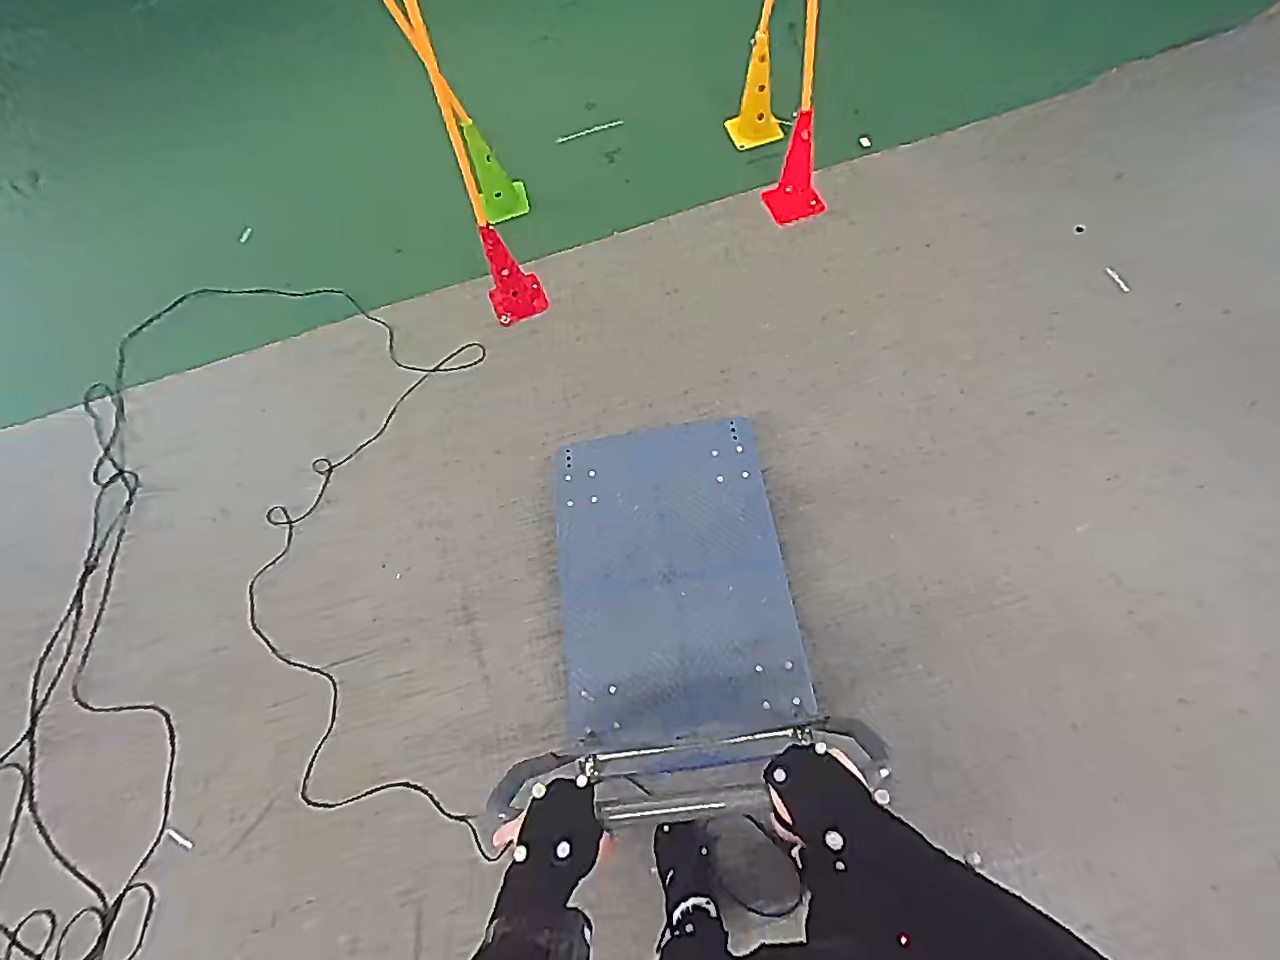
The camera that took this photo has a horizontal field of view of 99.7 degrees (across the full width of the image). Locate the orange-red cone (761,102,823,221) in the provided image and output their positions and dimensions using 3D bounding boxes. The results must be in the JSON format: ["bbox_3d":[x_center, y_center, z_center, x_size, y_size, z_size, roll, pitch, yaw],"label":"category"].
[{"bbox_3d":[0.558,-1.147,1.918,0.198,0.360,0.199,-17,63,0],"label":"orange-red cone"}]

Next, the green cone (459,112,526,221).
[{"bbox_3d":[-0.609,-1.249,2.123,0.200,0.368,0.202,-18,64,1],"label":"green cone"}]
